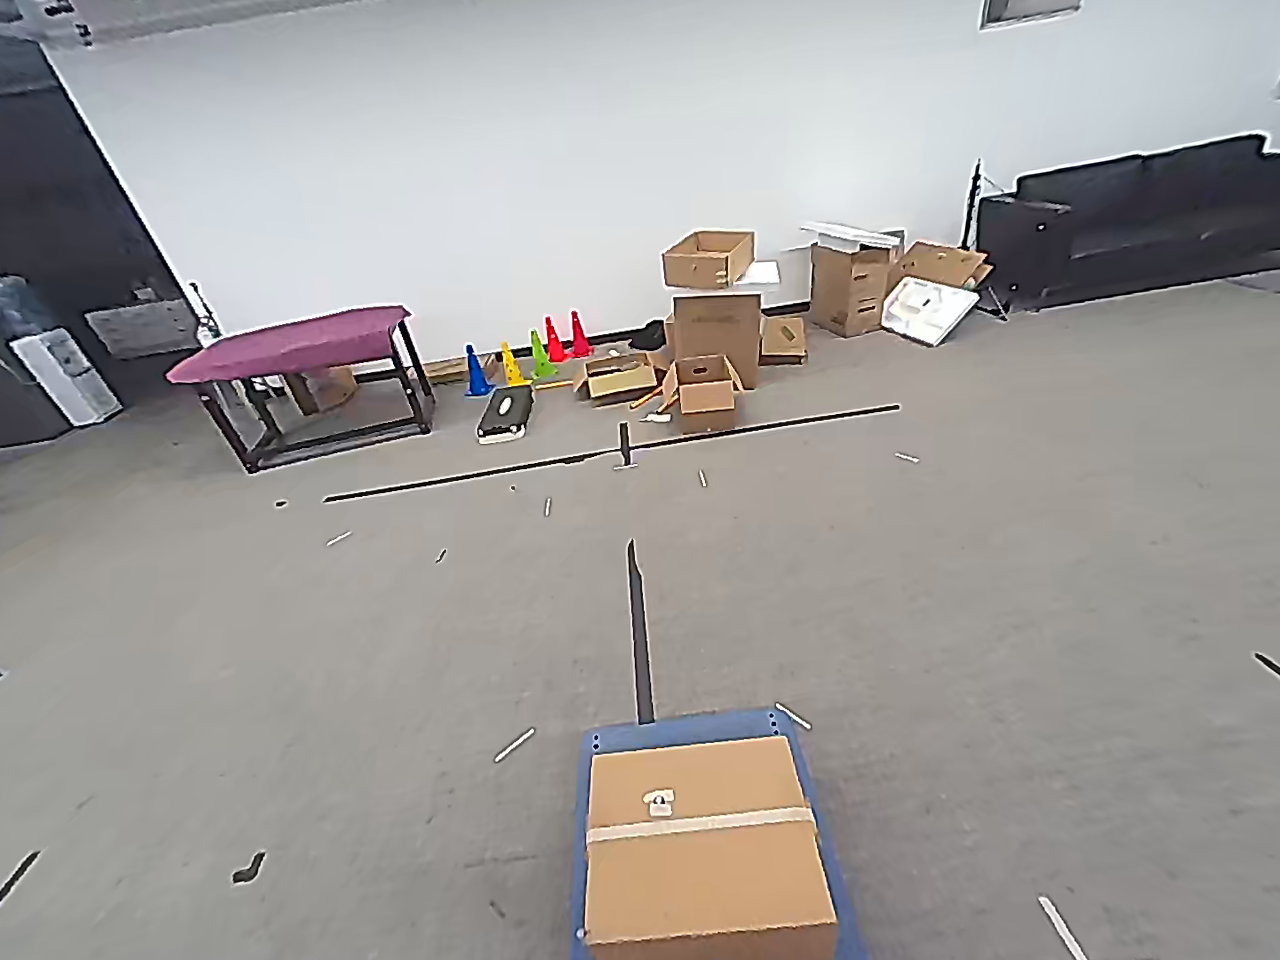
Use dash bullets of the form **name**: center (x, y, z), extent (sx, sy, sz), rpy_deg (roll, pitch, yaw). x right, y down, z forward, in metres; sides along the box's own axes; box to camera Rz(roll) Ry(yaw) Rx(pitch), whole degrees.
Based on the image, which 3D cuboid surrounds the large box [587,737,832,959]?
- **large box**: center (0.128, 0.761, 1.069), extent (0.408, 0.320, 0.320), rpy_deg (-9, 32, 3)
